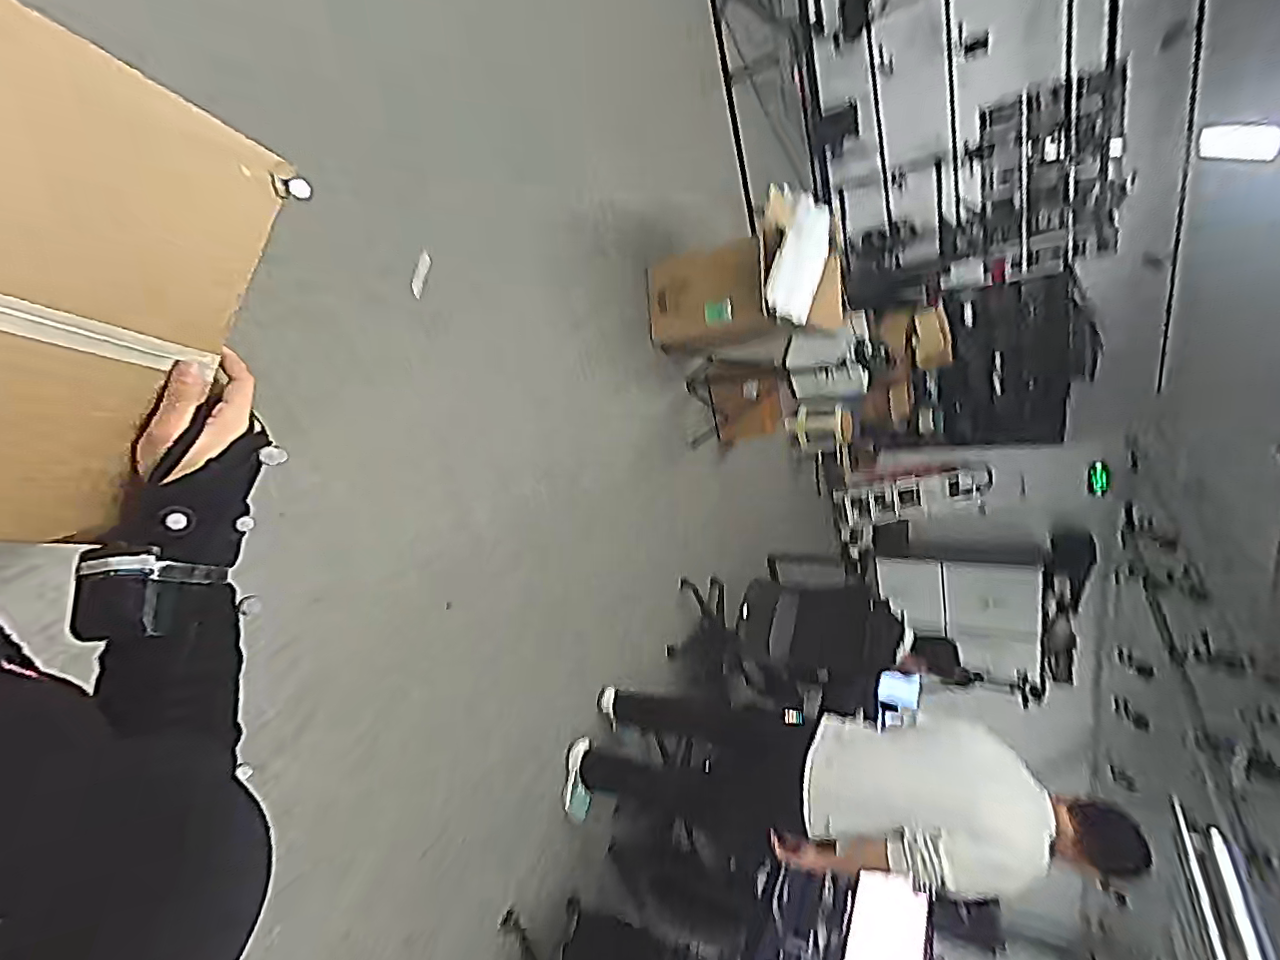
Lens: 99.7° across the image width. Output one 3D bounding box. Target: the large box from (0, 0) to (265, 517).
[{"bbox_3d":[-0.542,-0.194,0.314,0.408,0.320,0.320,12,110,-58],"label":"large box"}]
